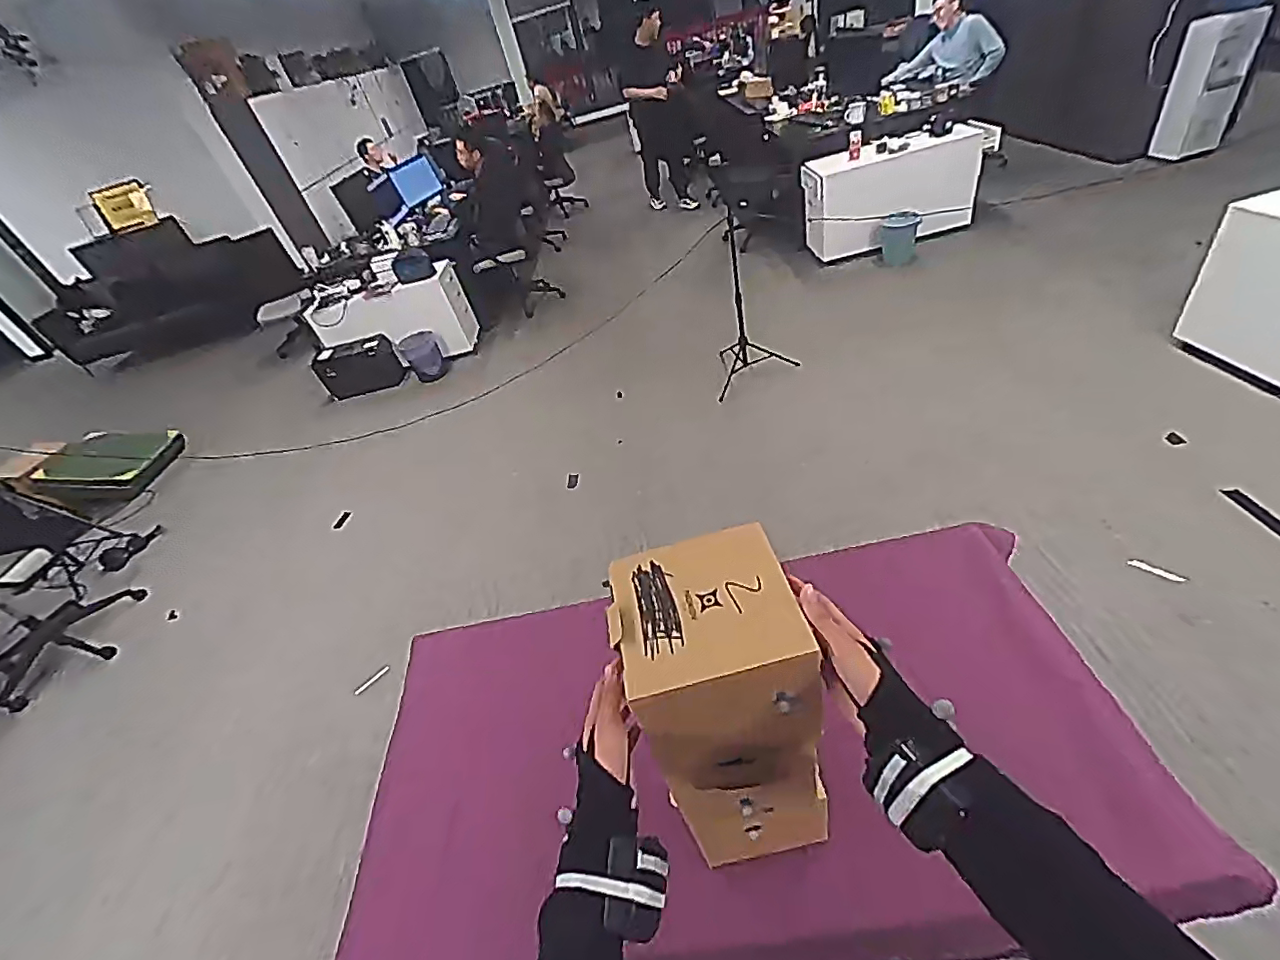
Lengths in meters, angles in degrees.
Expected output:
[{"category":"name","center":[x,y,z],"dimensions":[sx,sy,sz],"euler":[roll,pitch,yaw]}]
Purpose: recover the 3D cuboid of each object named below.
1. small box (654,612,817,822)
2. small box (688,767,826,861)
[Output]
[{"category":"small box","center":[0.117,0.296,0.677],"dimensions":[0.168,0.176,0.179],"euler":[-12,40,7]},{"category":"small box","center":[0.156,0.419,0.779],"dimensions":[0.179,0.176,0.168],"euler":[-15,40,2]}]
